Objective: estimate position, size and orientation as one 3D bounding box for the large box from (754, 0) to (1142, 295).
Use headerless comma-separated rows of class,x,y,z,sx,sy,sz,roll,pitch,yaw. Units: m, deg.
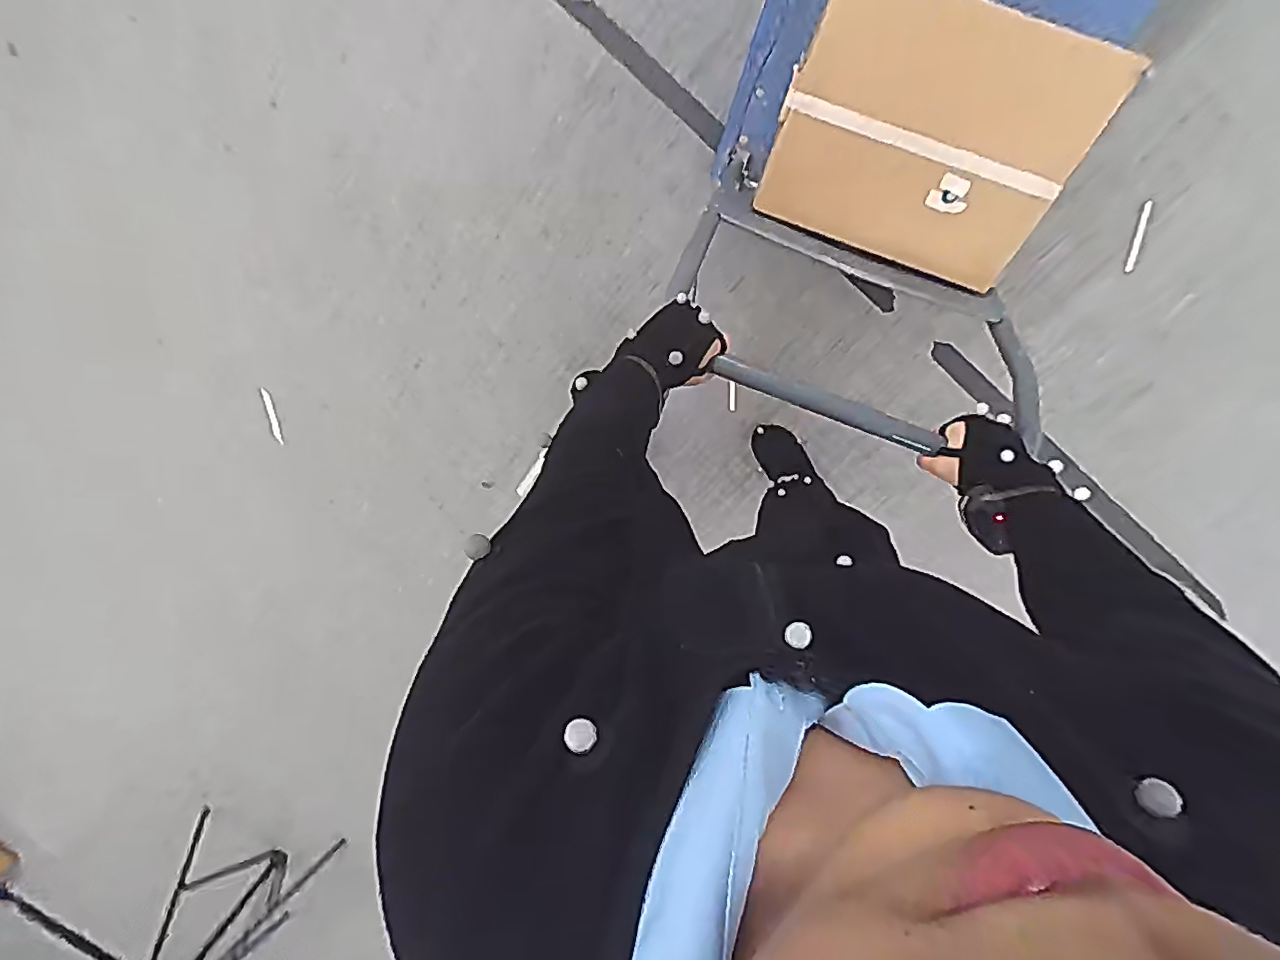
large box,0.436,-0.560,0.885,0.408,0.320,0.320,20,132,0
